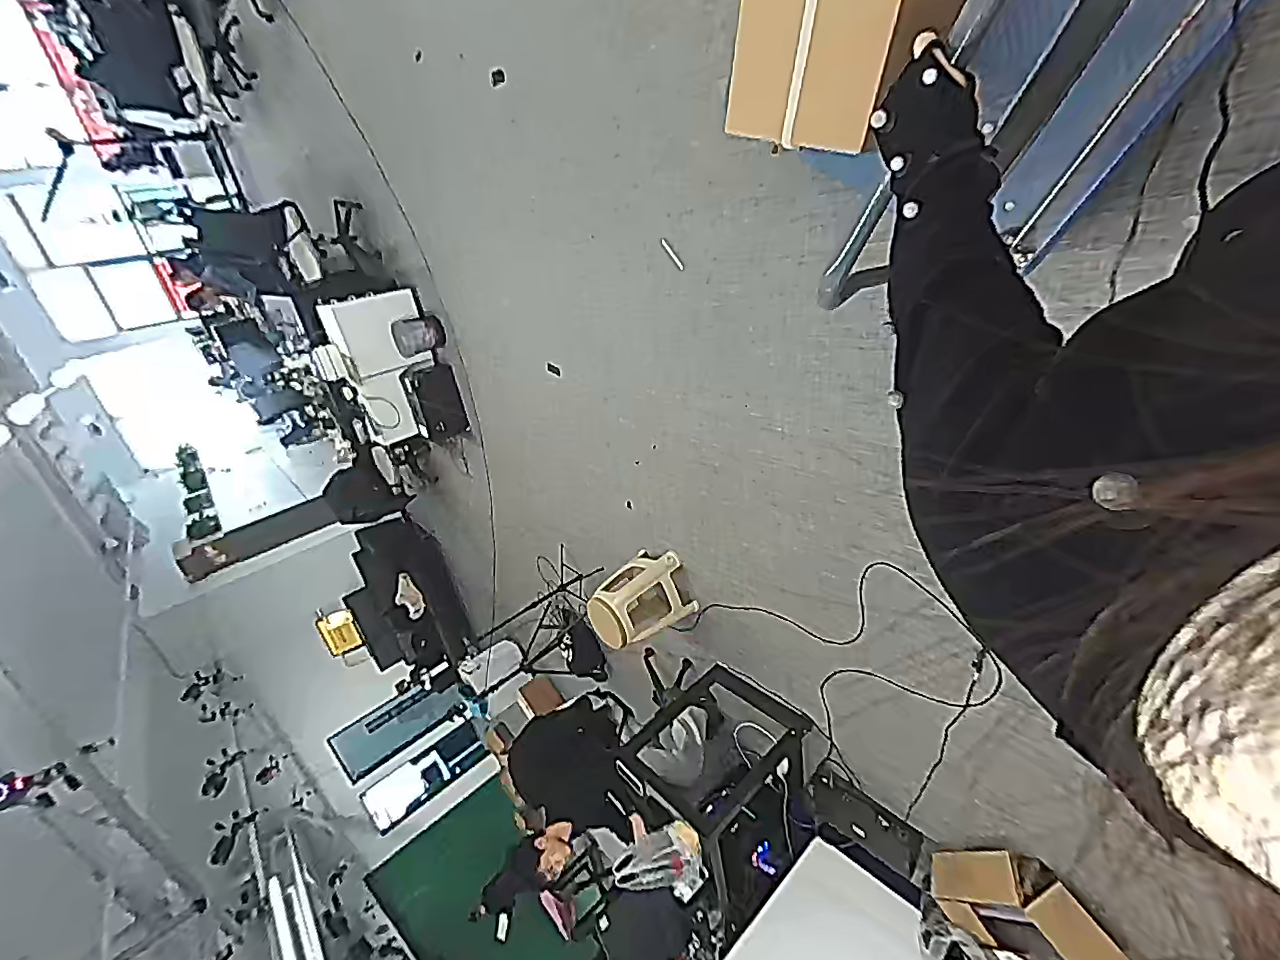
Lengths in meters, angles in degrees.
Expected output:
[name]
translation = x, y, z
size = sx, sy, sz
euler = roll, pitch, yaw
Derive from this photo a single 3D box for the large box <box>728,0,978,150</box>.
[large box]
translation = 0.398, -0.858, 0.989
size = 0.320, 0.320, 0.408
euler = 34, 137, 33
